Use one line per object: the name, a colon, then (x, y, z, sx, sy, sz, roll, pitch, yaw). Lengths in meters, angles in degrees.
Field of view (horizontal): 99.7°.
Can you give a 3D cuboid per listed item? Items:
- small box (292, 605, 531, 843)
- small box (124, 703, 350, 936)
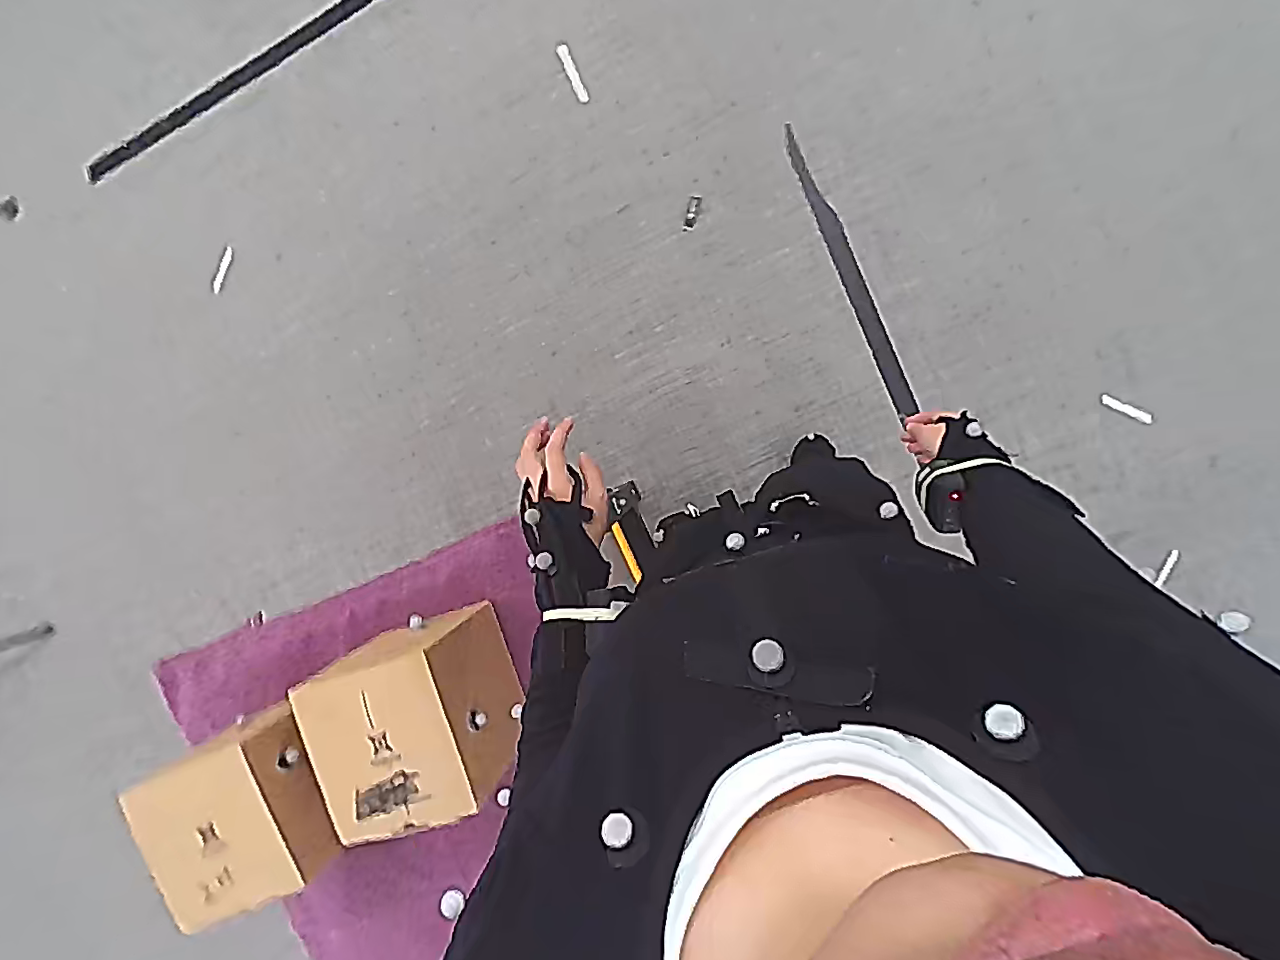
small box: (-0.249, 0.271, 0.633, 0.168, 0.176, 0.179, -19, 92, 9)
small box: (-0.451, 0.387, 0.665, 0.168, 0.176, 0.179, -25, 91, 7)
